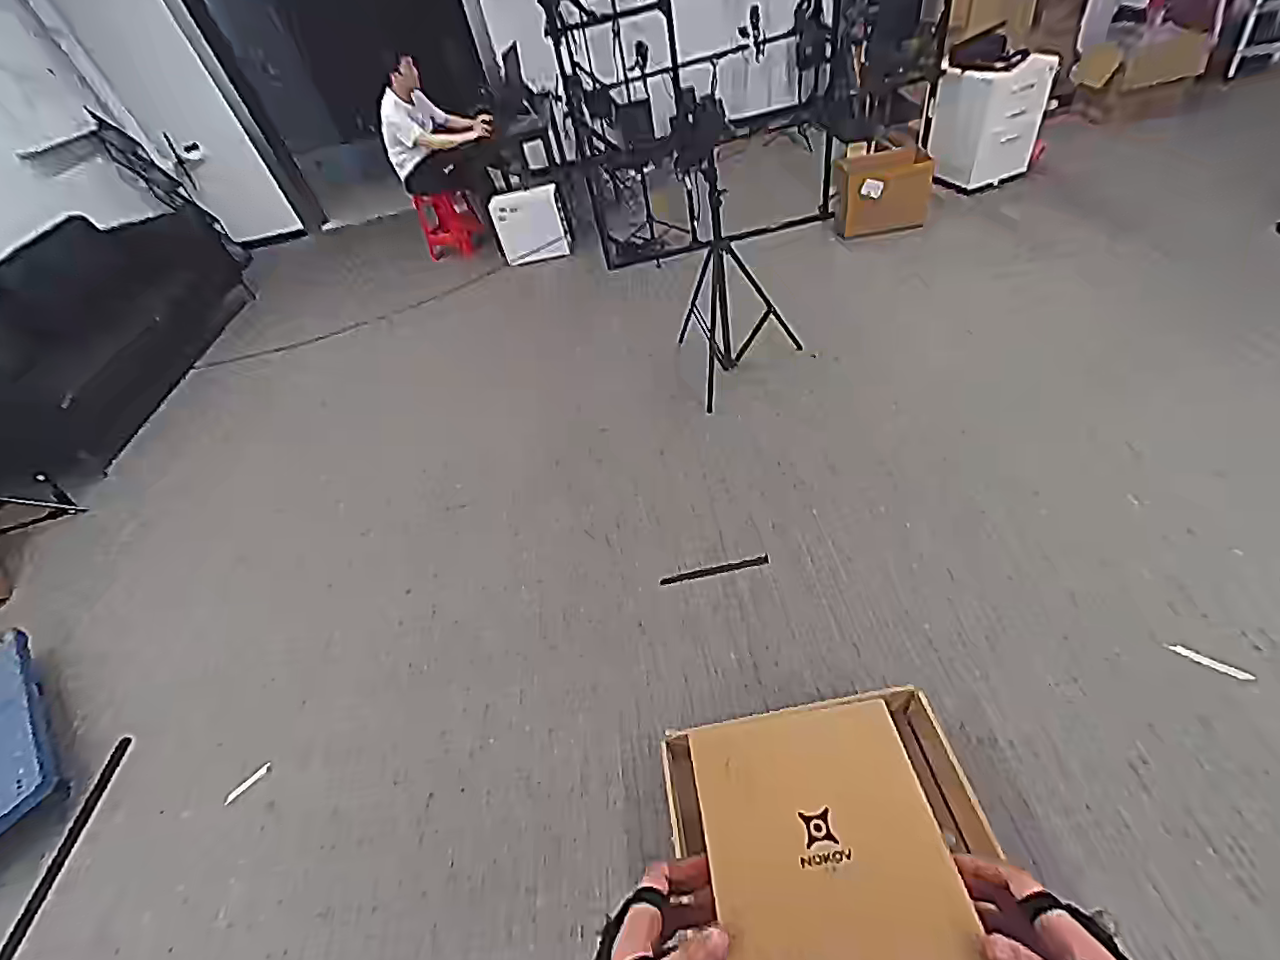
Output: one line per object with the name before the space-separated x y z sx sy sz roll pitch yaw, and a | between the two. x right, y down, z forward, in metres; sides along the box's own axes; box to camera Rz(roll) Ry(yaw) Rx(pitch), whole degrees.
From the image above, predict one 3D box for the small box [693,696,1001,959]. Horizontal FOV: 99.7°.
small box | 0.143 0.308 0.440 0.168 0.176 0.179 -12 43 3
